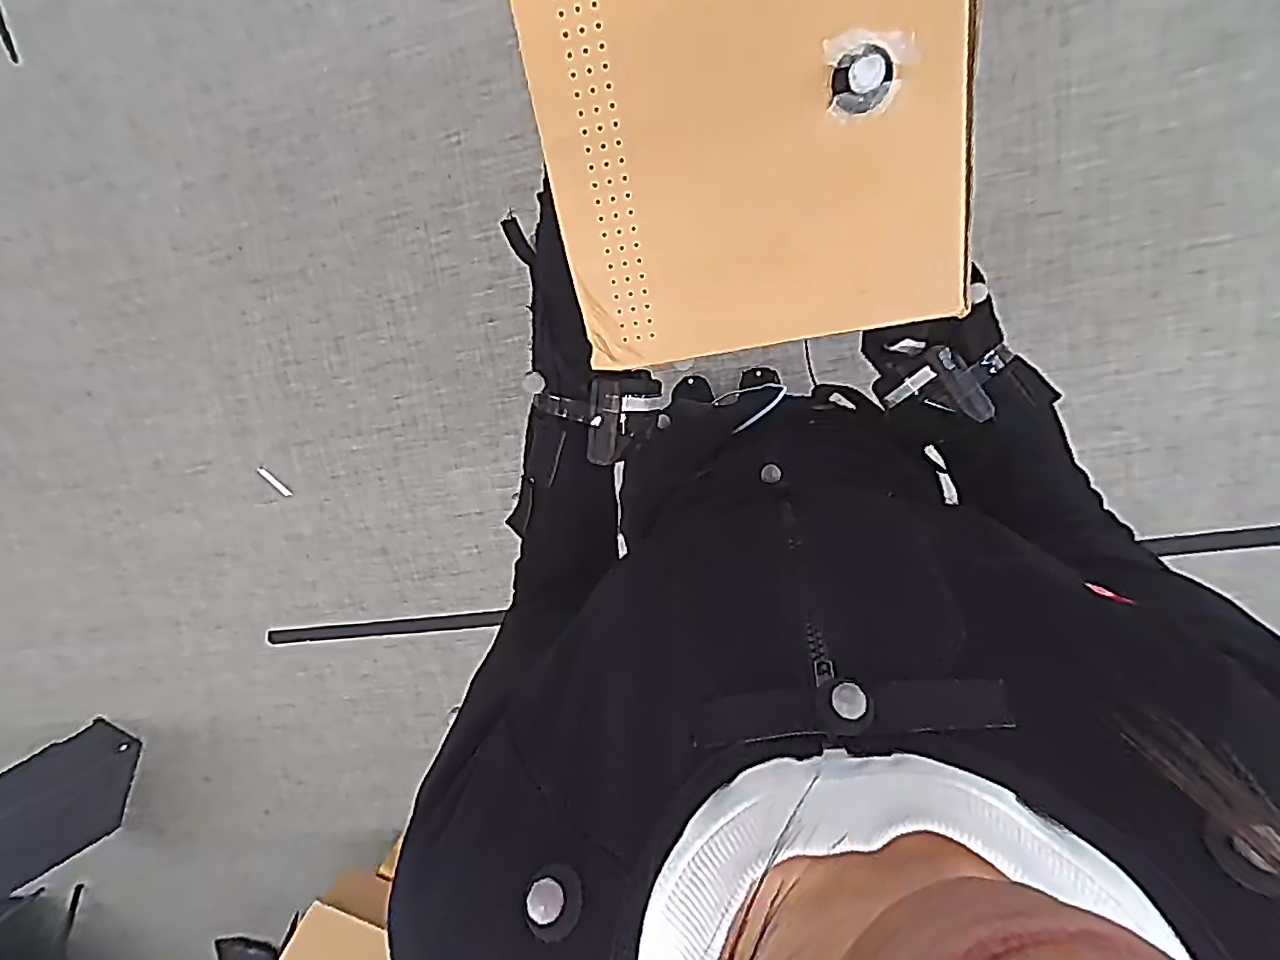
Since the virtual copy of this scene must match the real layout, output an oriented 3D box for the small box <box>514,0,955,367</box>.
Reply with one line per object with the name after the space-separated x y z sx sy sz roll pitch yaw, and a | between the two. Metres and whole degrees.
0.047 -0.174 0.295 0.176 0.168 0.179 -7 112 11 | small box
